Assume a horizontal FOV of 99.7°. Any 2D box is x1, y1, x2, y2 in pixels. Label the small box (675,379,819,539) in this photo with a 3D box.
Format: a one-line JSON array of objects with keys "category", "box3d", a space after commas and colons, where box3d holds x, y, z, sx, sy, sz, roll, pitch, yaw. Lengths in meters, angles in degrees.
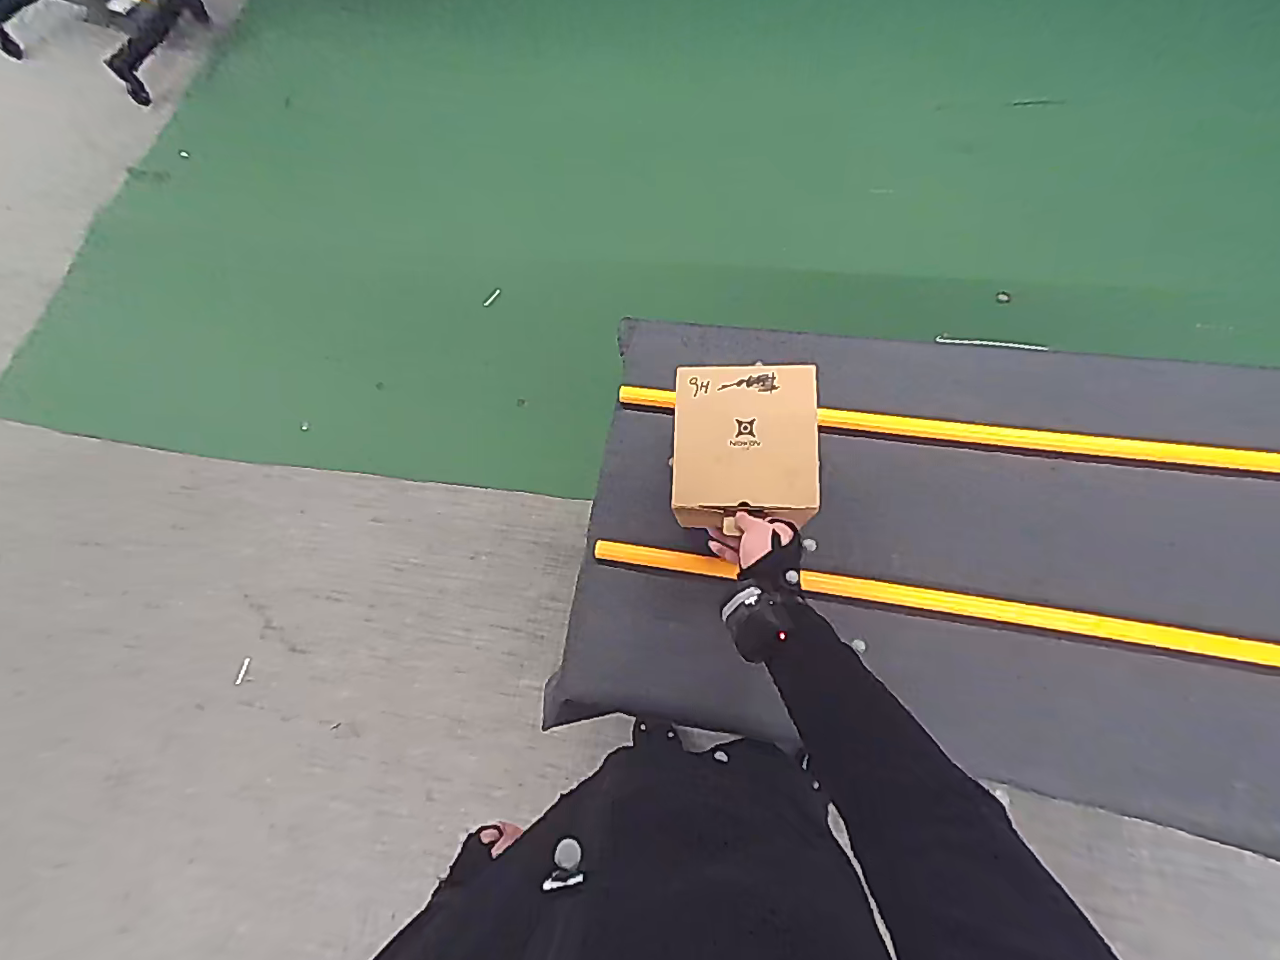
[{"category": "small box", "box3d": [0.139, -0.015, 0.715, 0.168, 0.176, 0.179, -3, 75, 10]}]
